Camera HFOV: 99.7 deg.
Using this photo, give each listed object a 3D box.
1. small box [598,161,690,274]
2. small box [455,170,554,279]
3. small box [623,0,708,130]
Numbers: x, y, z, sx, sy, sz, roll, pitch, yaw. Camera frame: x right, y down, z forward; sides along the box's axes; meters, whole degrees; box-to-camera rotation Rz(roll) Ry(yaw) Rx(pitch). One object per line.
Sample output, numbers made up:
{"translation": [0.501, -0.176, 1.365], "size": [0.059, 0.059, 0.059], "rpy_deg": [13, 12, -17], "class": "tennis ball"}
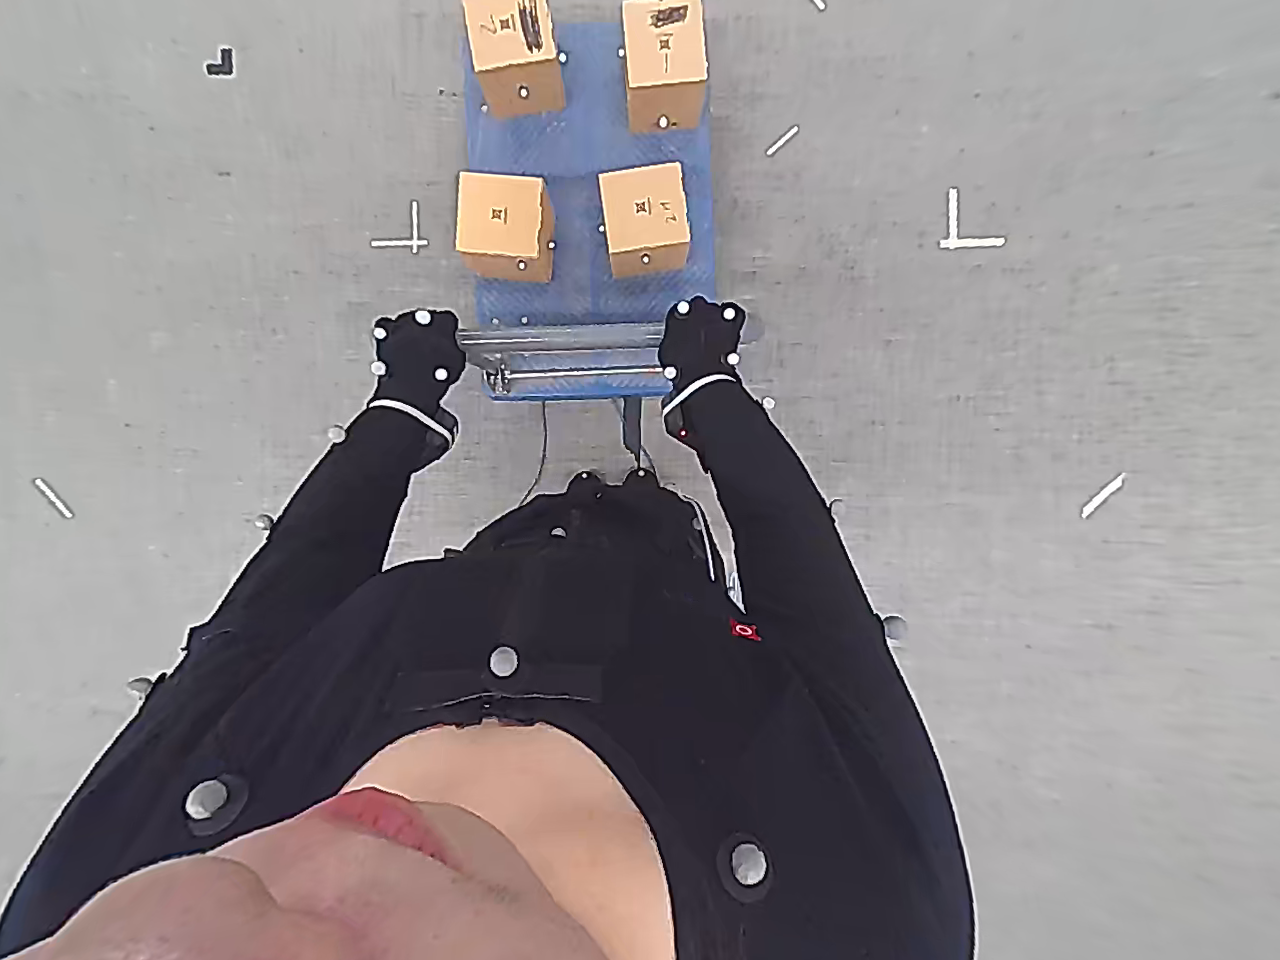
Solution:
{"translation": [0.010, -0.572, 1.200], "size": [0.179, 0.176, 0.168], "rpy_deg": [-8, 93, 1], "class": "small box"}
{"translation": [-0.294, -0.558, 1.202], "size": [0.179, 0.176, 0.168], "rpy_deg": [4, 93, -2], "class": "small box"}
{"translation": [0.050, -0.908, 1.182], "size": [0.168, 0.176, 0.179], "rpy_deg": [-5, 94, 1], "class": "small box"}
